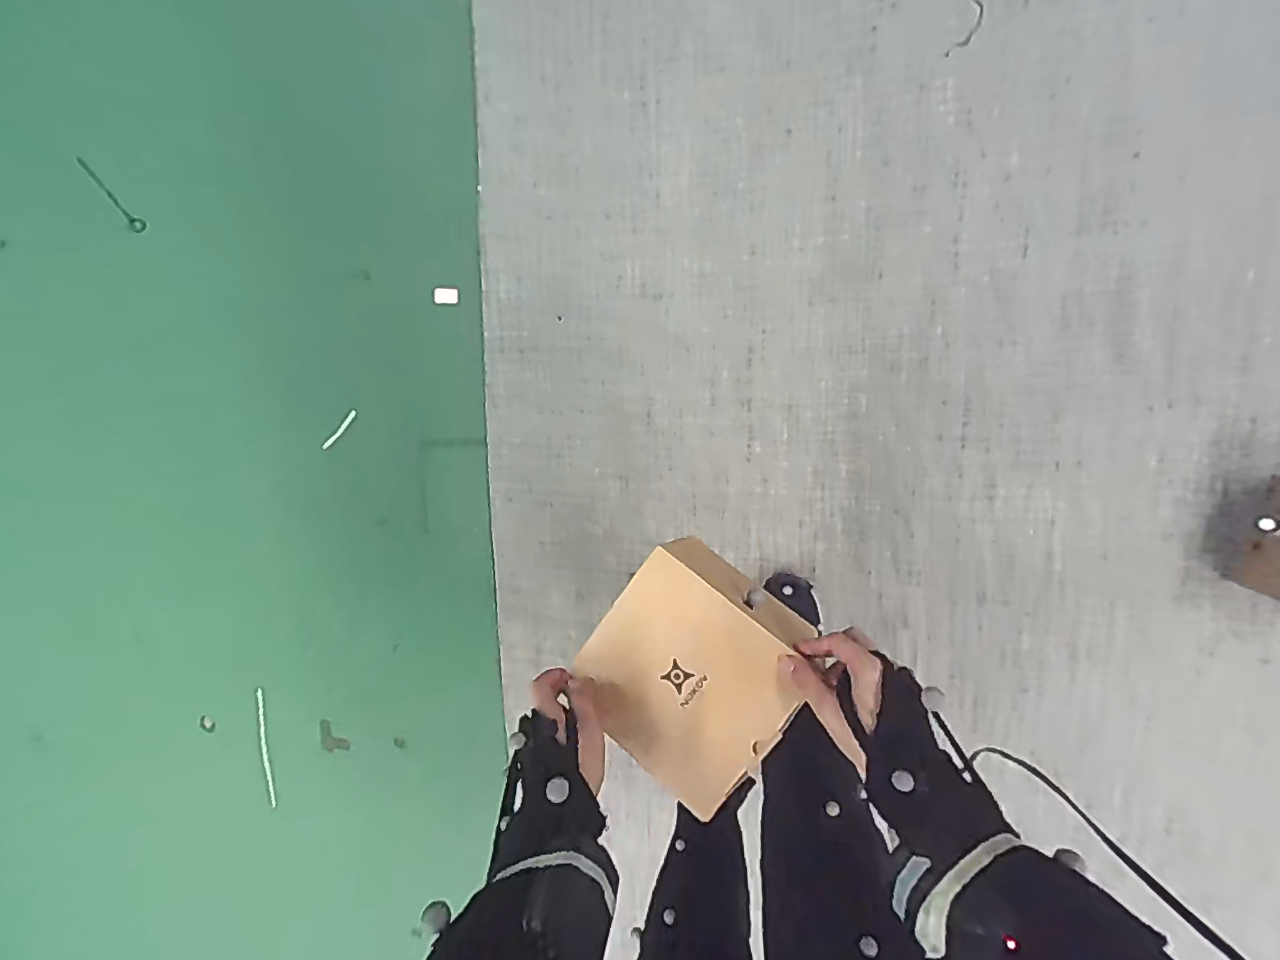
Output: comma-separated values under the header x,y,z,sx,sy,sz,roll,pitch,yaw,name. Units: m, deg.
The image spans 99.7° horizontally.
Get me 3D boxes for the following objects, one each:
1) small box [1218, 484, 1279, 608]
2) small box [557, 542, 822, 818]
x,y,z,sx,sy,sz,roll,pitch,yaw,name
0.932,0.111,0.691,0.179,0.176,0.168,18,101,12,small box
0.055,0.176,0.542,0.179,0.176,0.168,36,96,13,small box
